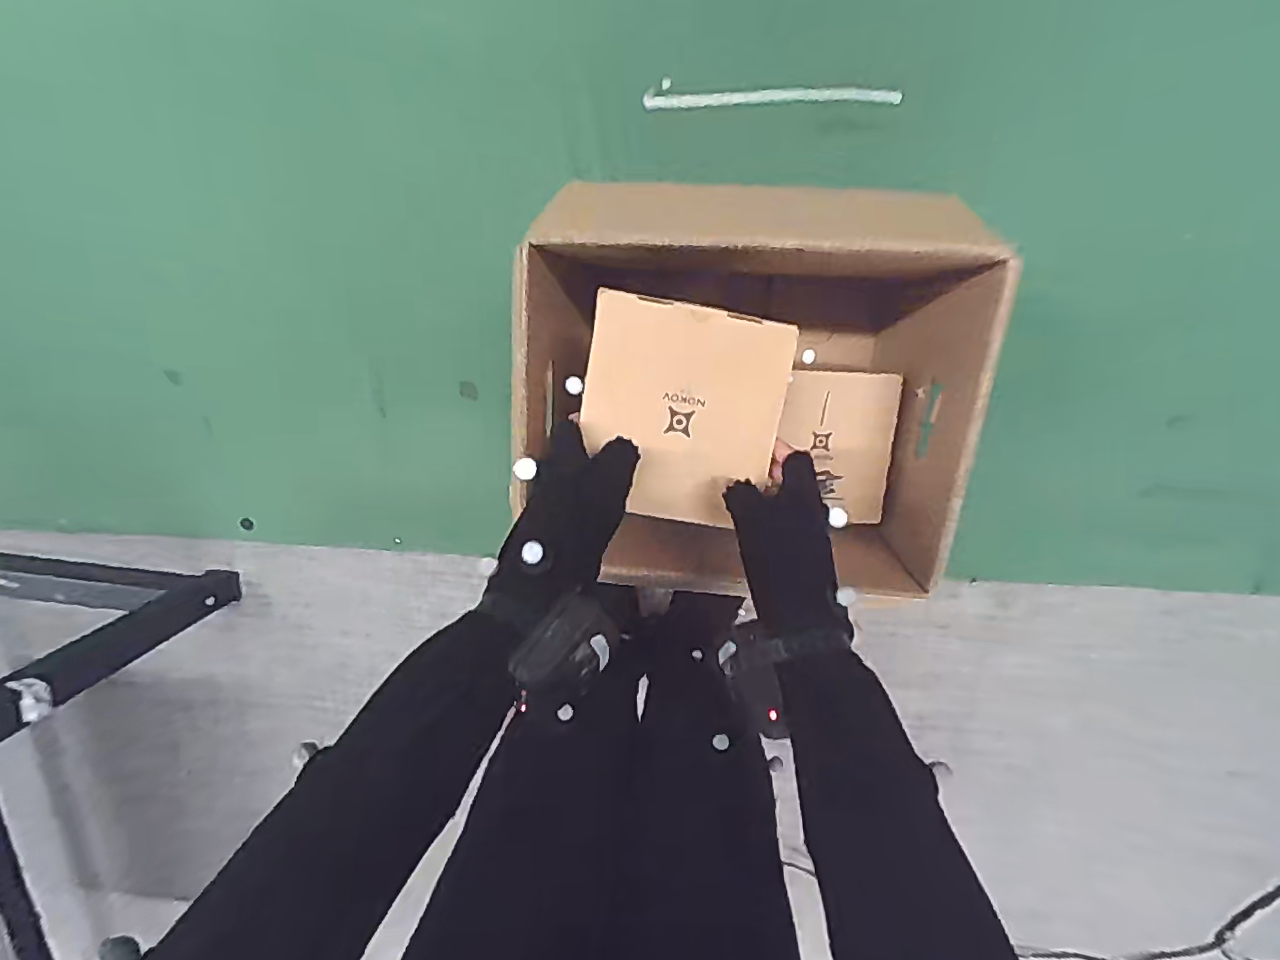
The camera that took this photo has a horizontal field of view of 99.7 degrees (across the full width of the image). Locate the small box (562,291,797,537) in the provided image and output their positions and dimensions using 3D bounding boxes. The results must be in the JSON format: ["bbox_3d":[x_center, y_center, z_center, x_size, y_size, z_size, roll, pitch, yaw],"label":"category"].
[{"bbox_3d":[0.028,-0.063,0.514,0.168,0.176,0.179,10,99,-4],"label":"small box"}]
